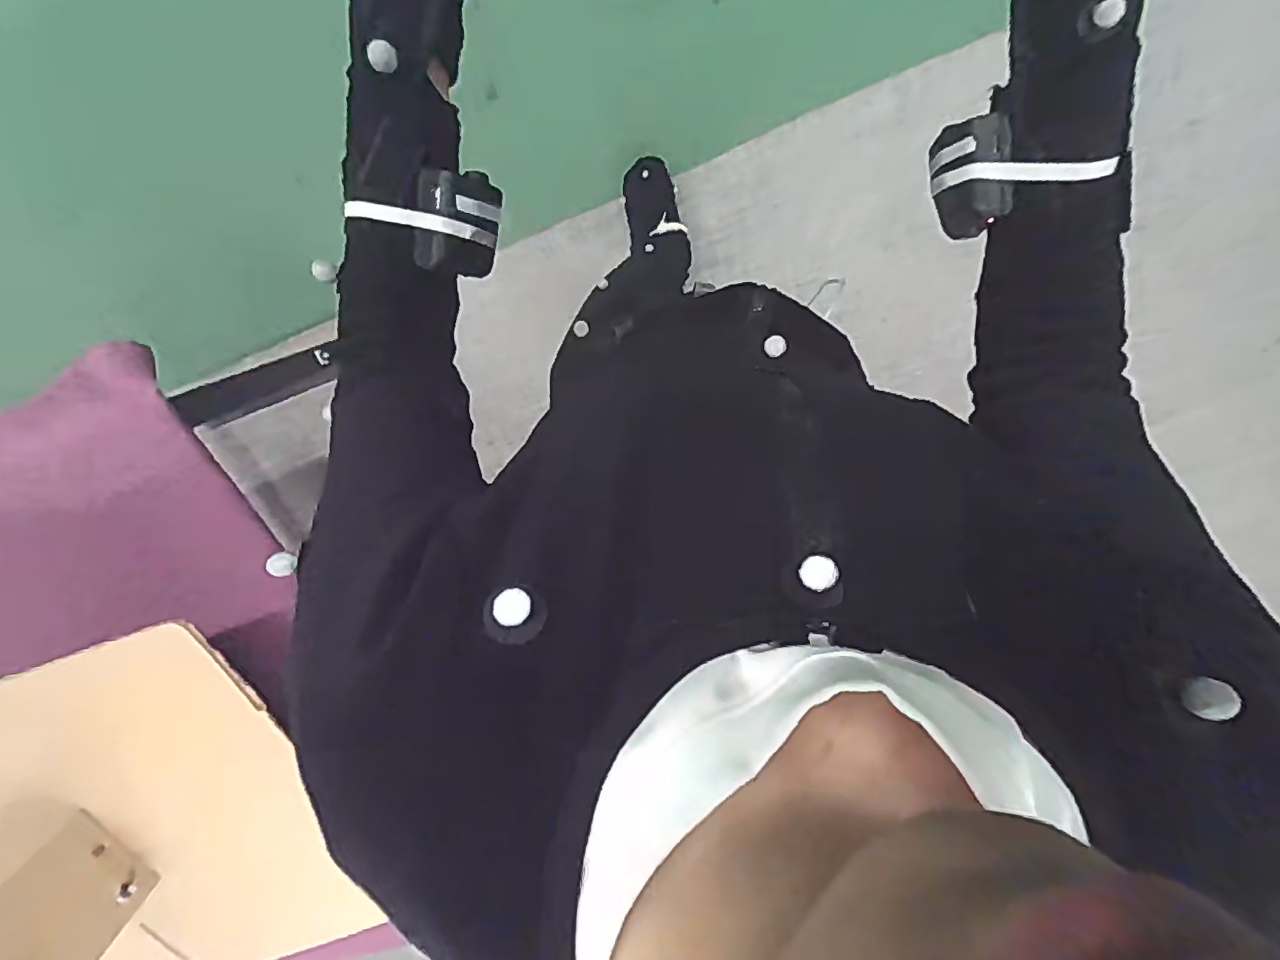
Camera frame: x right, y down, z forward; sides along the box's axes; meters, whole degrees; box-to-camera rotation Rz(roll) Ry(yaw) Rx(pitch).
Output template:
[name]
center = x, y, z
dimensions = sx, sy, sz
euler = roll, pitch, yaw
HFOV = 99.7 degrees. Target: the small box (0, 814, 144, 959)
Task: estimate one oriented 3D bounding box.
[small box]
center = -0.800, 0.561, 0.690
dimensions = 0.179, 0.176, 0.168
euler = -16, 113, 10
